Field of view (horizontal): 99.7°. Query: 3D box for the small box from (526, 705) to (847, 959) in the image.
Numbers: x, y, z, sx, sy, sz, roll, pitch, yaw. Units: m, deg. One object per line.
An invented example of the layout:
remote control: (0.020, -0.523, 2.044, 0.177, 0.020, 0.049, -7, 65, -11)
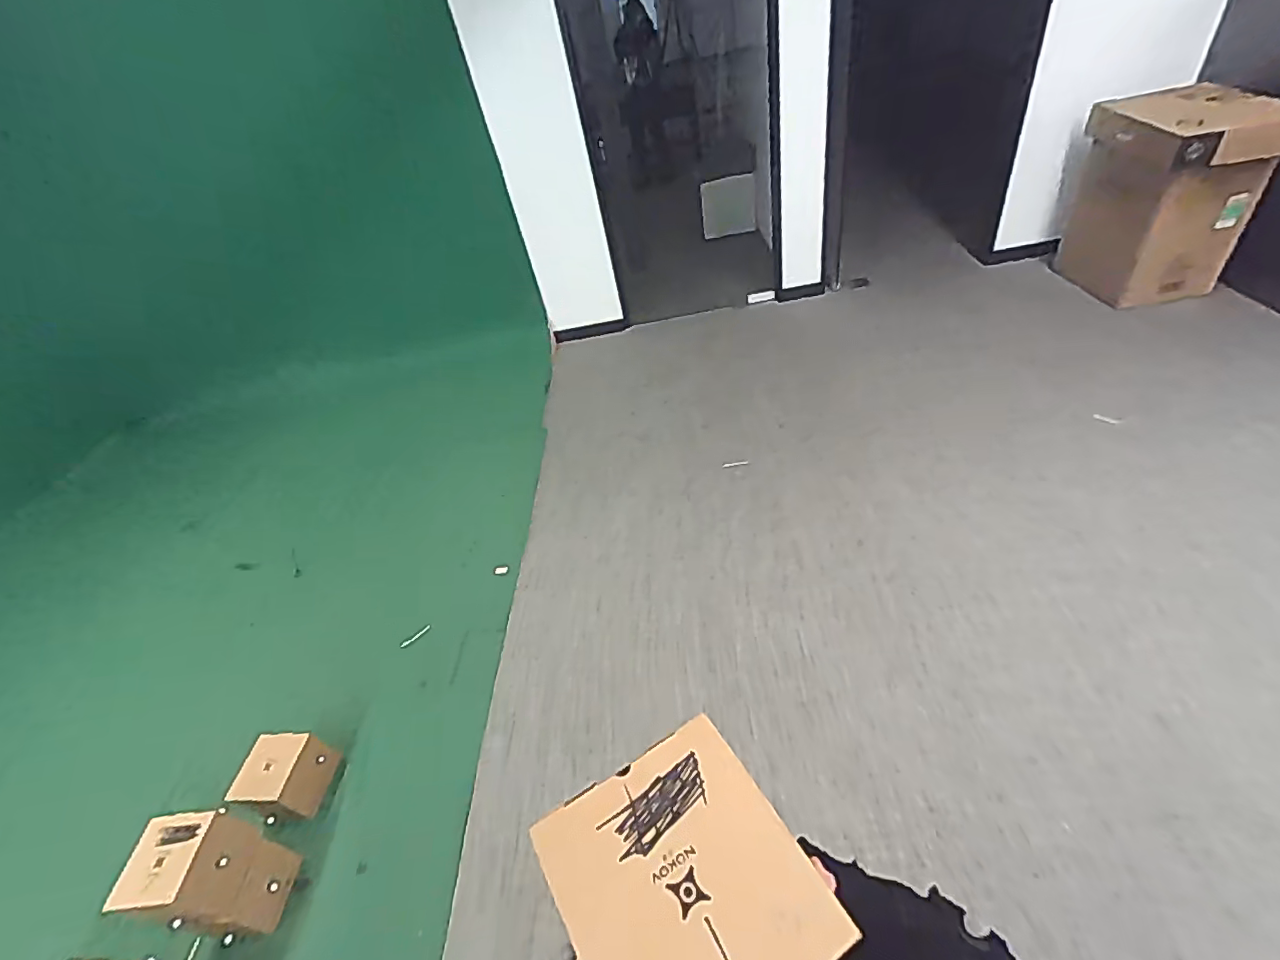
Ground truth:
small box: (0.028, 0.327, 0.434, 0.168, 0.176, 0.179, -24, 47, -20)

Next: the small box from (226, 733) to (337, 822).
small box: (-0.997, 0.839, 1.528, 0.168, 0.176, 0.179, -6, 41, 10)
